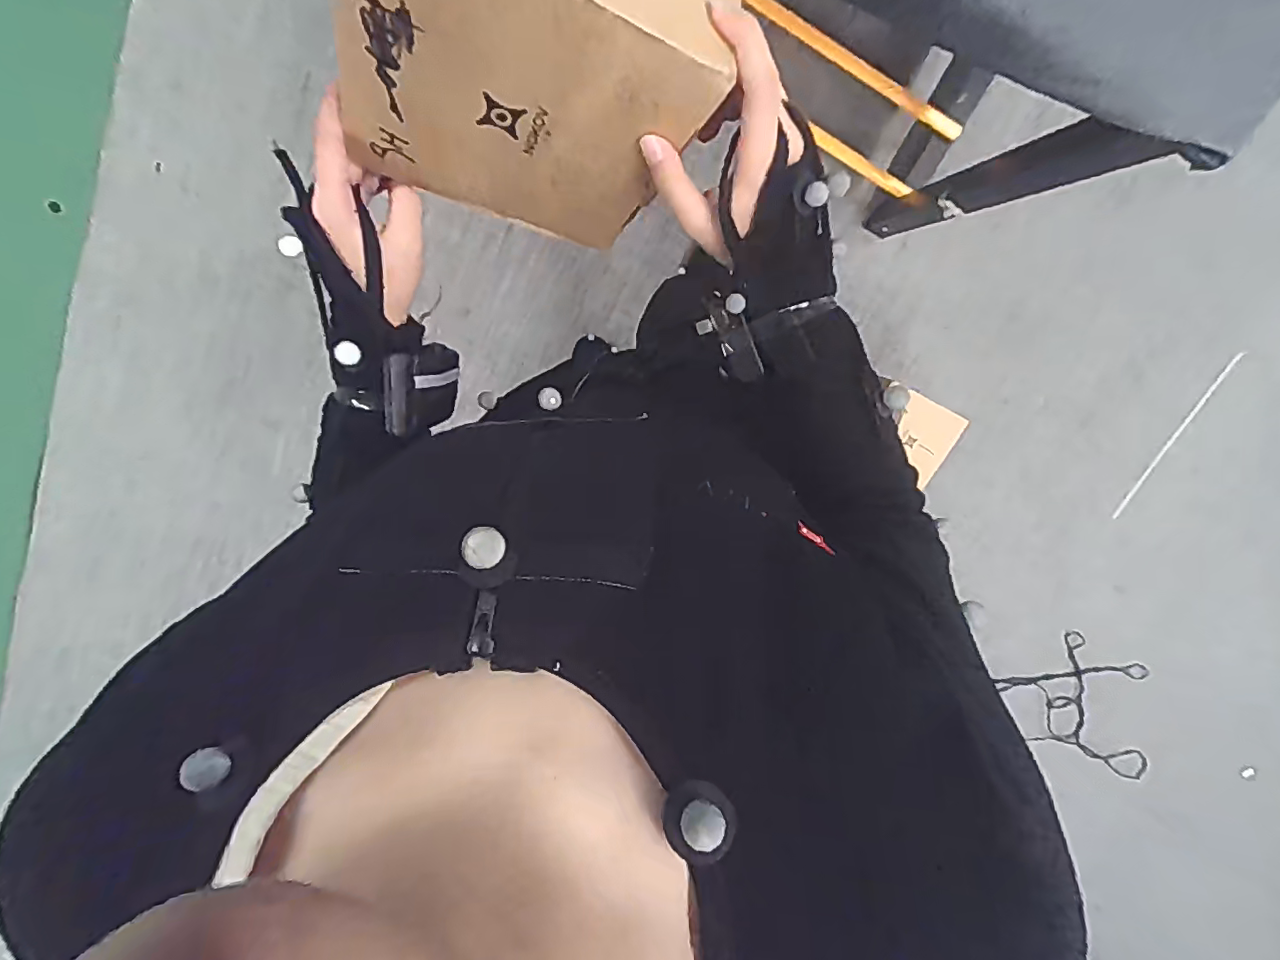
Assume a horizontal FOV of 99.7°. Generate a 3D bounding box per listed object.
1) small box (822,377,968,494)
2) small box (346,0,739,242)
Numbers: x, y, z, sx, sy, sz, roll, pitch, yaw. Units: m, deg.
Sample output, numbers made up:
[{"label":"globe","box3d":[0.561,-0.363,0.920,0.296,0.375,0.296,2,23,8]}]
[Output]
[{"label":"small box","box3d":[0.504,-0.098,1.100,0.179,0.176,0.168,25,105,-9]},{"label":"small box","box3d":[-0.057,-0.277,0.307,0.179,0.168,0.176,9,78,-26]}]
